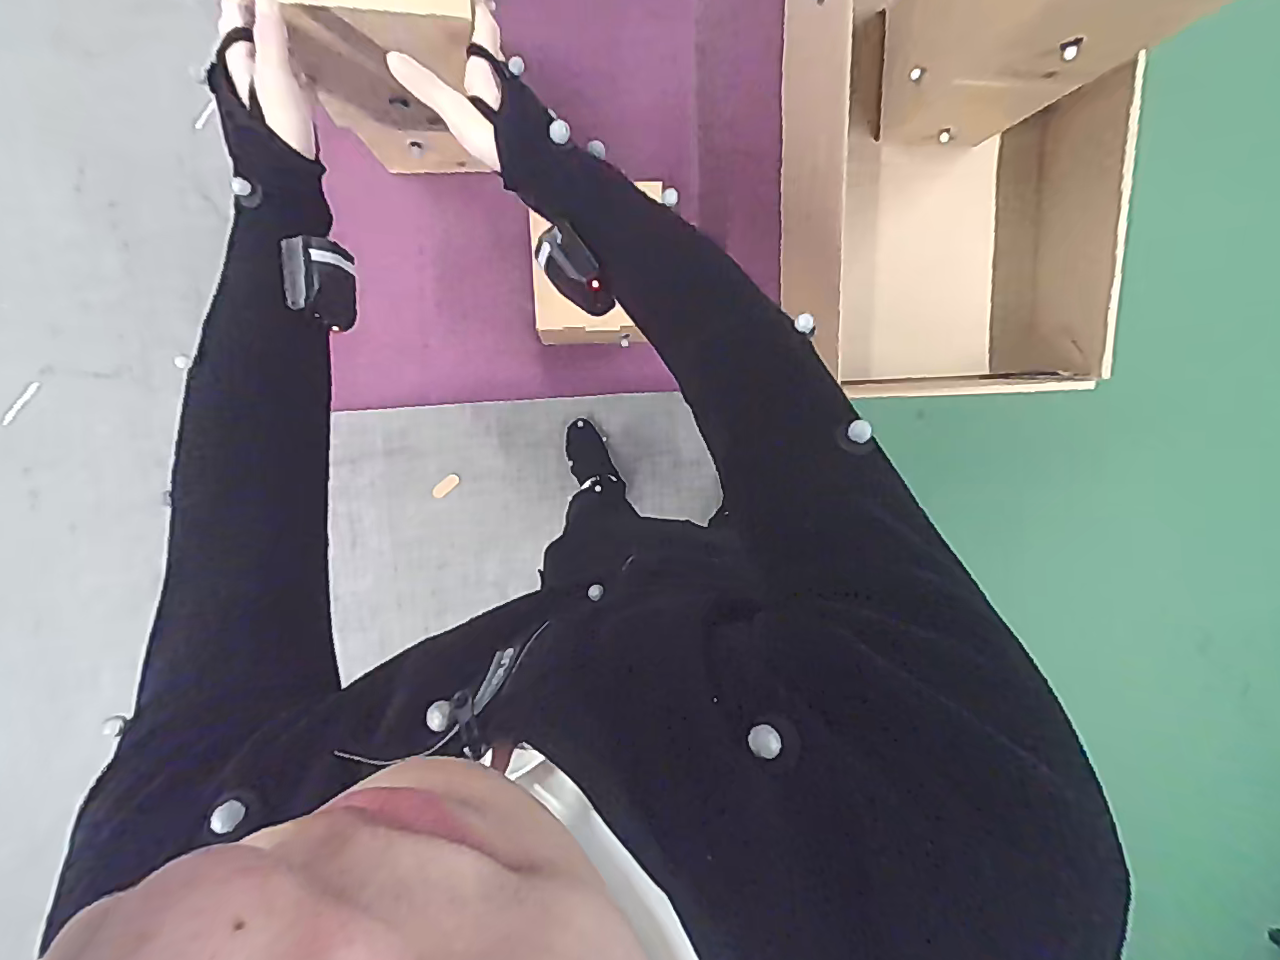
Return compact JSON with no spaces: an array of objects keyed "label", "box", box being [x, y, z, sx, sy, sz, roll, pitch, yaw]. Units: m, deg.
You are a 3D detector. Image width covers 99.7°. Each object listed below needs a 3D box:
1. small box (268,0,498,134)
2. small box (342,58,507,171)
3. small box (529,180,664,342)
[{"label":"small box","box":[-0.226,-0.461,0.499,0.168,0.176,0.179,-3,94,-8]},{"label":"small box","box":[-0.266,-0.509,0.679,0.168,0.176,0.179,-5,99,-6]},{"label":"small box","box":[-0.060,-0.285,0.741,0.168,0.176,0.179,-3,98,-8]}]
